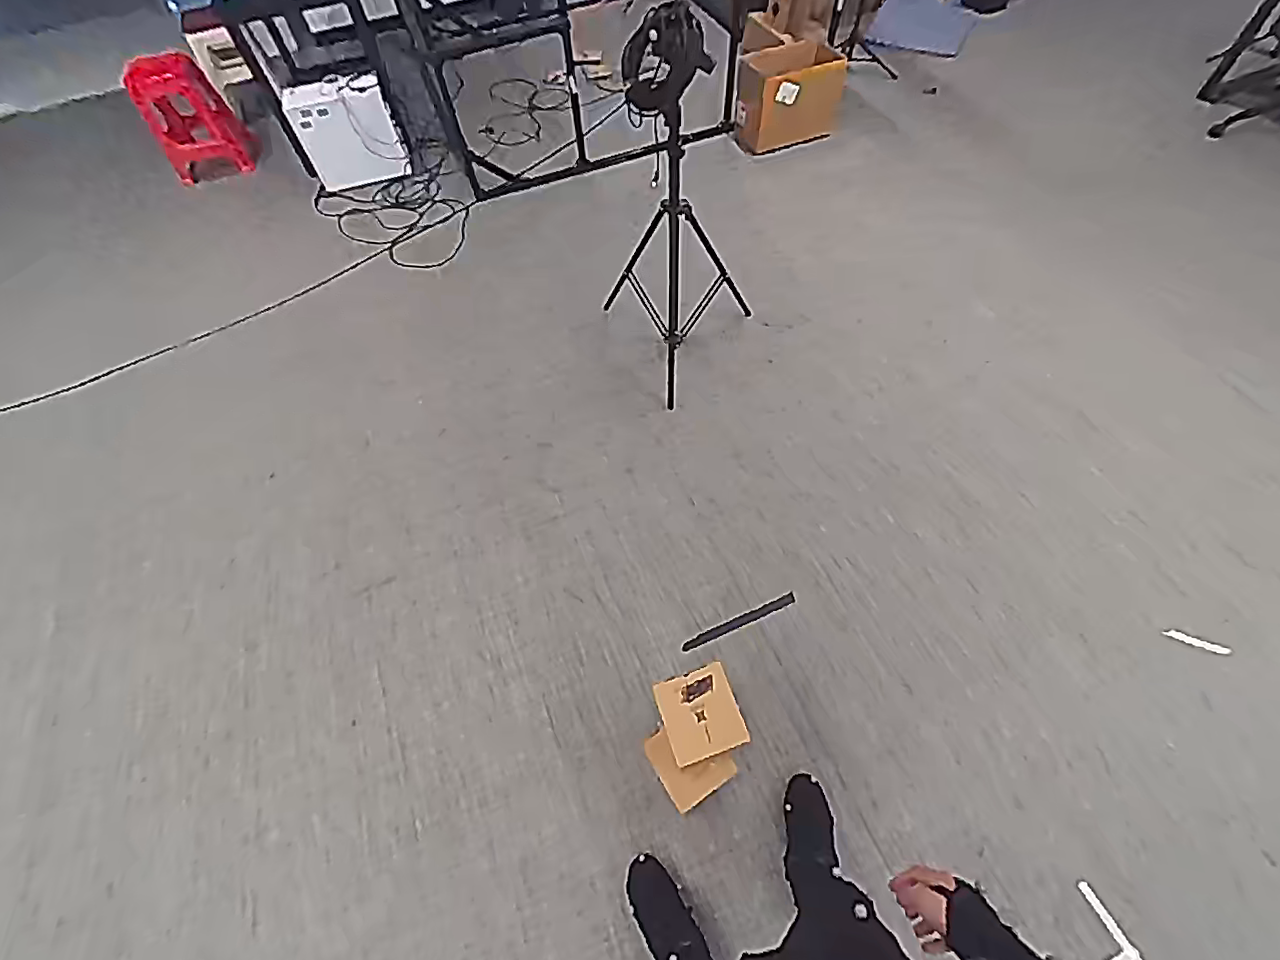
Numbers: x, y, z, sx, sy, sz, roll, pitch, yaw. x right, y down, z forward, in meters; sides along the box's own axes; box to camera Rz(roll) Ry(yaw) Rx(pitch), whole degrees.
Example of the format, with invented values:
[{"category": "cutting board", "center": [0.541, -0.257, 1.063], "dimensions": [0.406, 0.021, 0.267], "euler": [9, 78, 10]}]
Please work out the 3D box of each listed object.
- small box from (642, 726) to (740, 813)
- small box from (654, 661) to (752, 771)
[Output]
[{"category": "small box", "center": [0.121, 0.688, 1.330], "dimensions": [0.168, 0.176, 0.179], "euler": [-31, 62, -13]}, {"category": "small box", "center": [0.137, 0.539, 1.227], "dimensions": [0.168, 0.176, 0.179], "euler": [-18, 59, -6]}]
